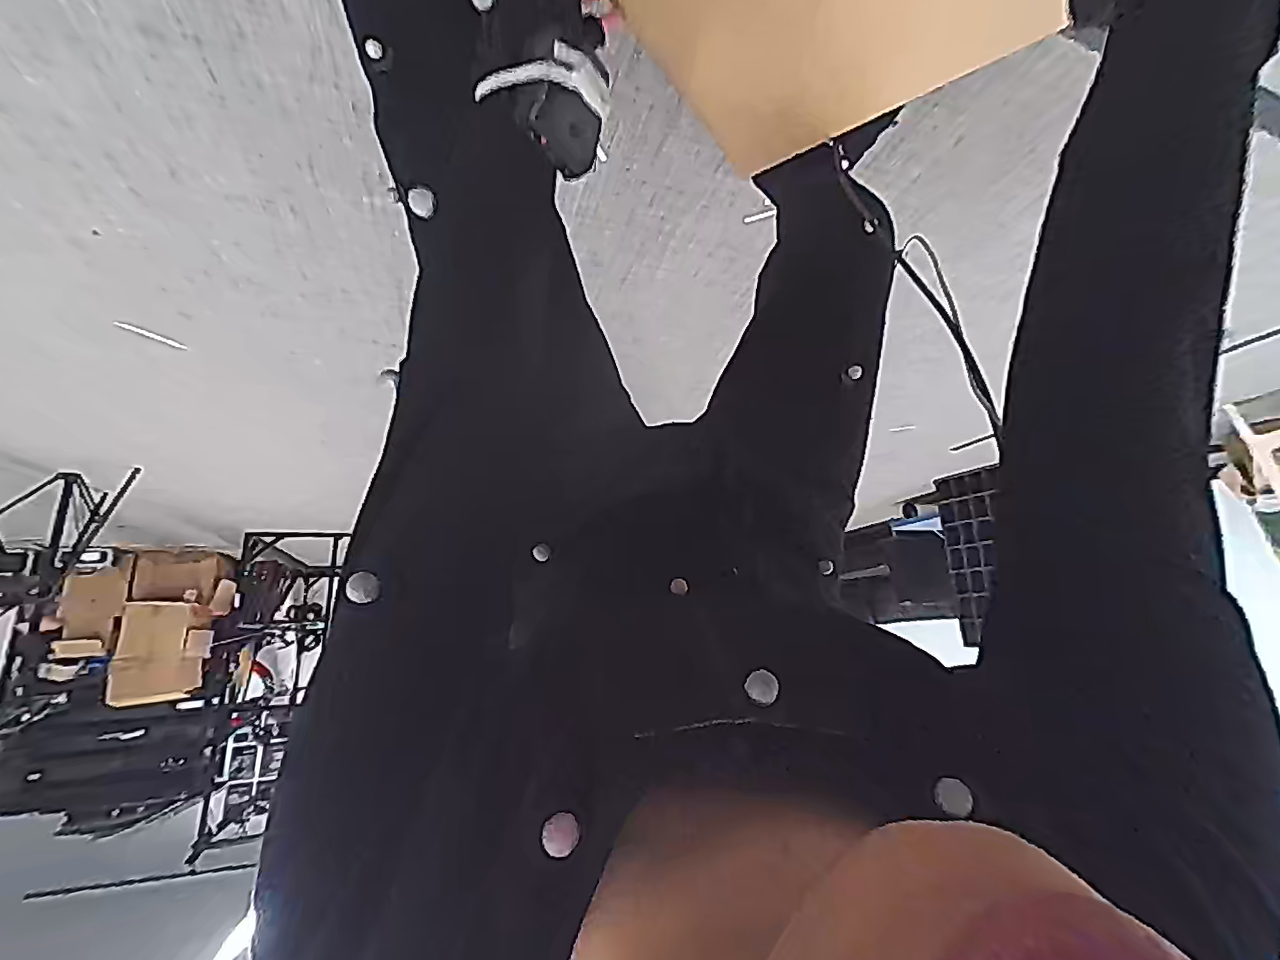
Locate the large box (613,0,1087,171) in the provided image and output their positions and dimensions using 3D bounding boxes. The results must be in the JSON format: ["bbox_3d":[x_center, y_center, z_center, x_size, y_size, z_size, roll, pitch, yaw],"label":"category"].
[{"bbox_3d":[0.182,-0.545,0.423,0.408,0.320,0.320,-8,167,35],"label":"large box"}]
